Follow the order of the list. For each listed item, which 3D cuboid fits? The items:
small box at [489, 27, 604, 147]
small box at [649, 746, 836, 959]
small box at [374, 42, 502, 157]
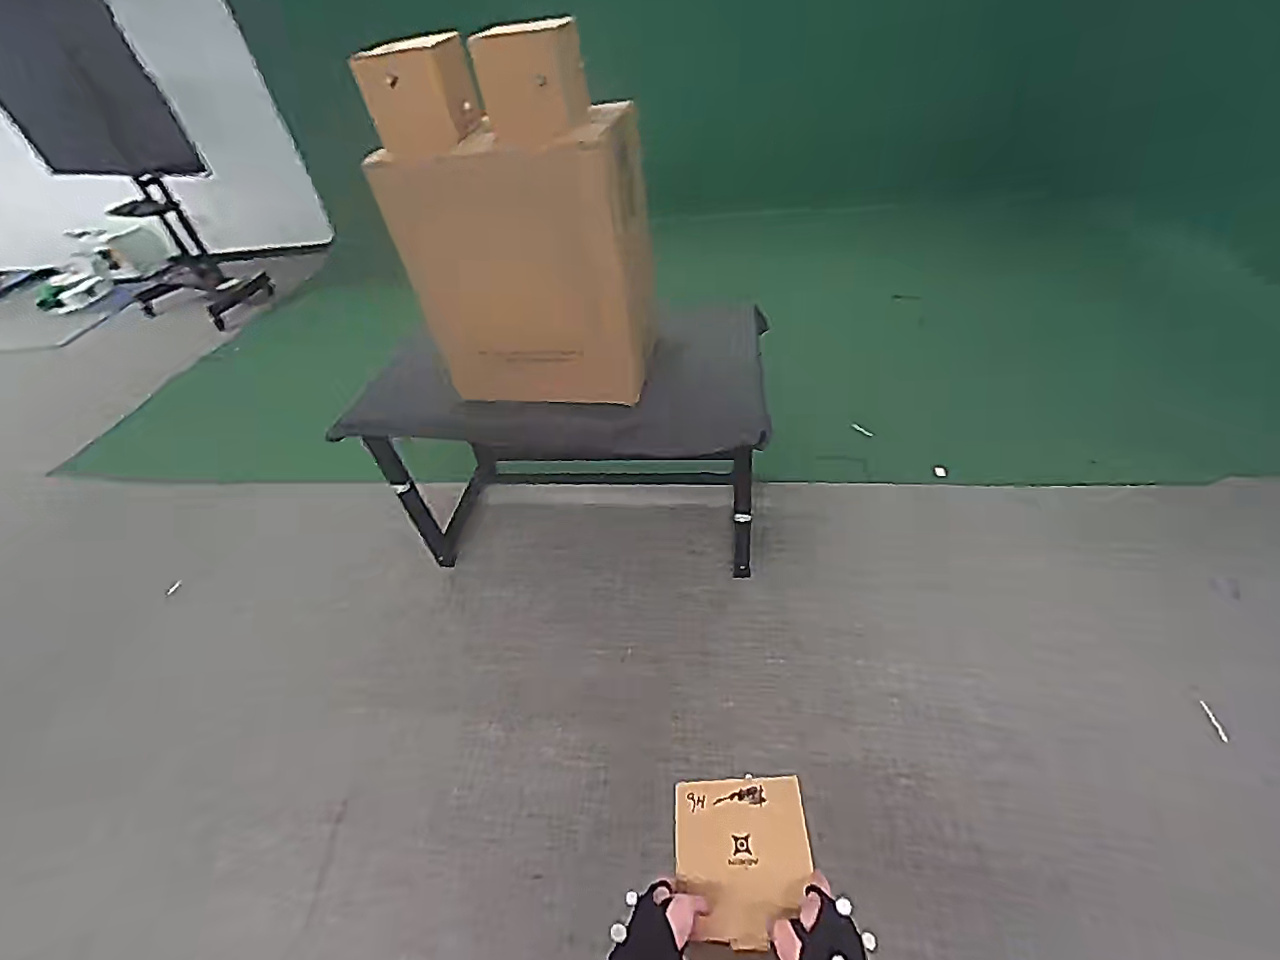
[{"bbox_3d":[-0.185,-0.826,1.141,0.179,0.176,0.168,2,45,14],"label":"small box"},{"bbox_3d":[0.141,0.507,0.718,0.179,0.176,0.168,-28,37,-15],"label":"small box"},{"bbox_3d":[-0.433,-0.832,1.189,0.179,0.176,0.168,3,48,15],"label":"small box"}]
